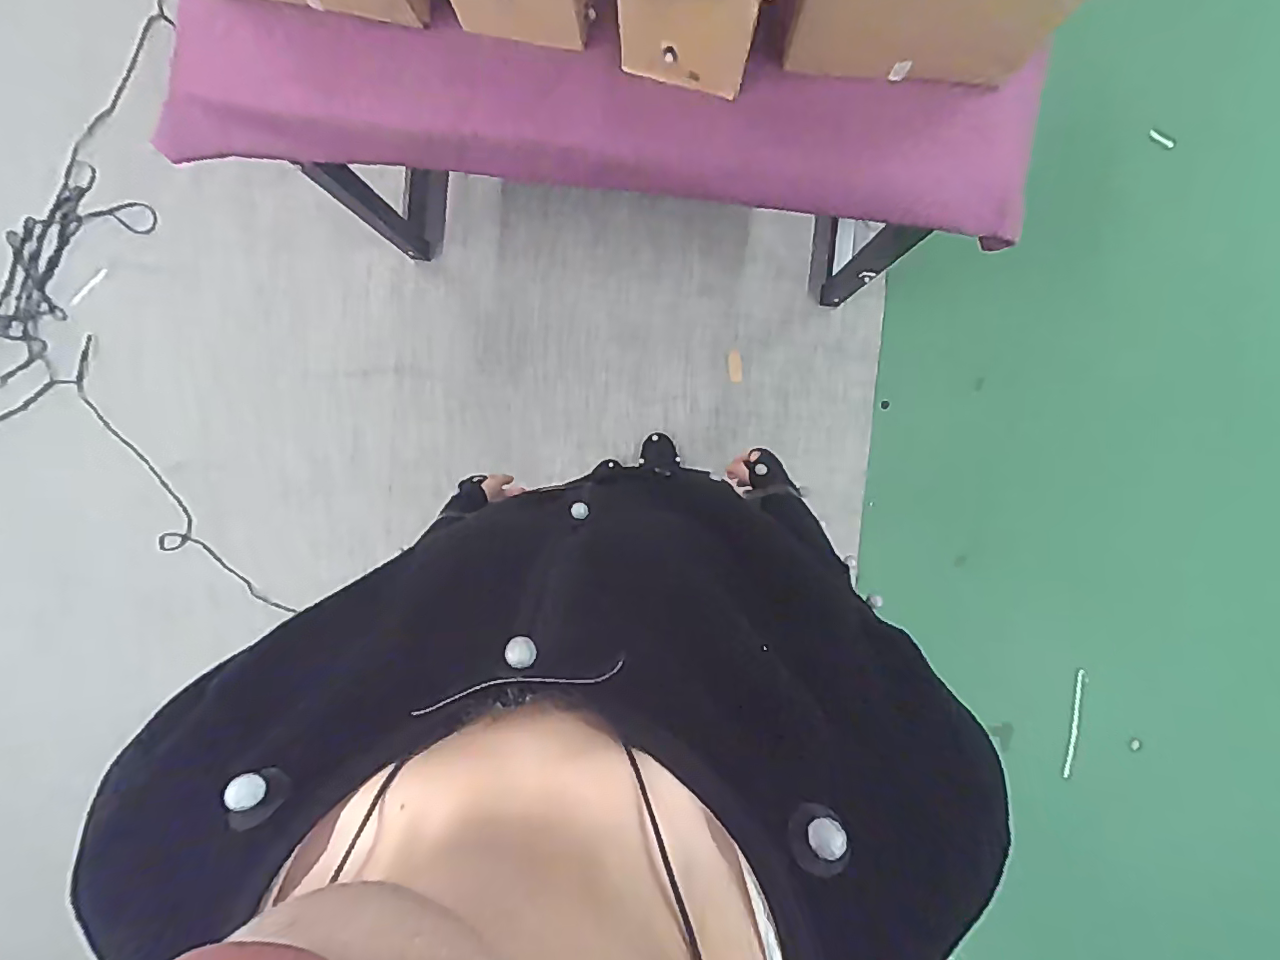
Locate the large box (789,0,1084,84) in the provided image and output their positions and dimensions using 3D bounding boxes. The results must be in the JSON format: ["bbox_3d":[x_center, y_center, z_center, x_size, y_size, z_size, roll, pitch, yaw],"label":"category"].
[{"bbox_3d":[0.366,-0.745,0.588,0.320,0.320,0.408,6,94,3],"label":"large box"}]
